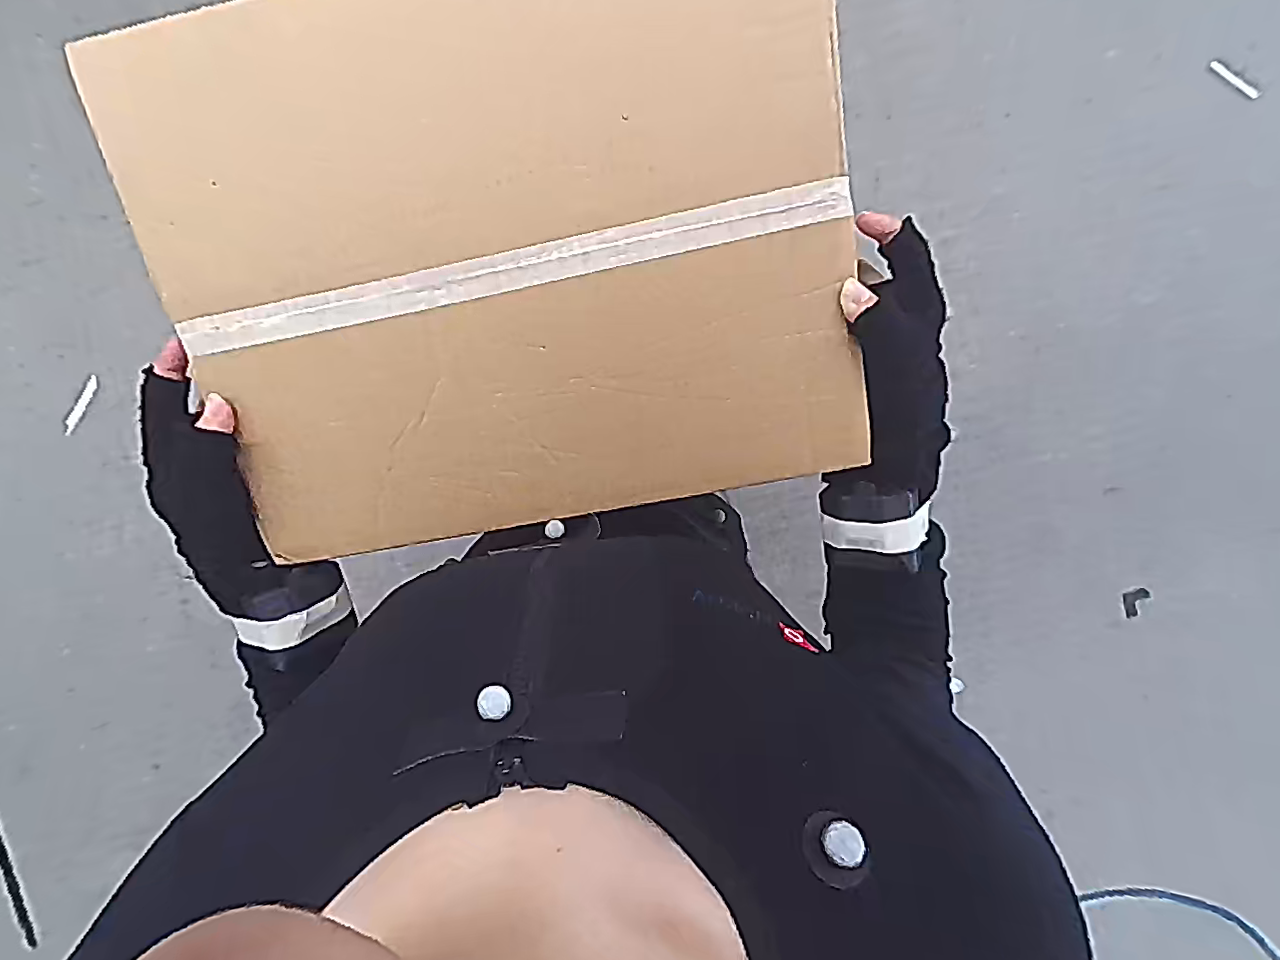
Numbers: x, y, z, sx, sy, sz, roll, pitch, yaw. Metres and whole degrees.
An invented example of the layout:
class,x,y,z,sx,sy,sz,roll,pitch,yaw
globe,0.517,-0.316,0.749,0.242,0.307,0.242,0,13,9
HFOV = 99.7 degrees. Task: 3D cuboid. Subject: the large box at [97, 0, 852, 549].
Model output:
class,x,y,z,sx,sy,sz,roll,pitch,yaw
large box,-0.079,-0.173,0.470,0.408,0.320,0.320,-10,105,5
